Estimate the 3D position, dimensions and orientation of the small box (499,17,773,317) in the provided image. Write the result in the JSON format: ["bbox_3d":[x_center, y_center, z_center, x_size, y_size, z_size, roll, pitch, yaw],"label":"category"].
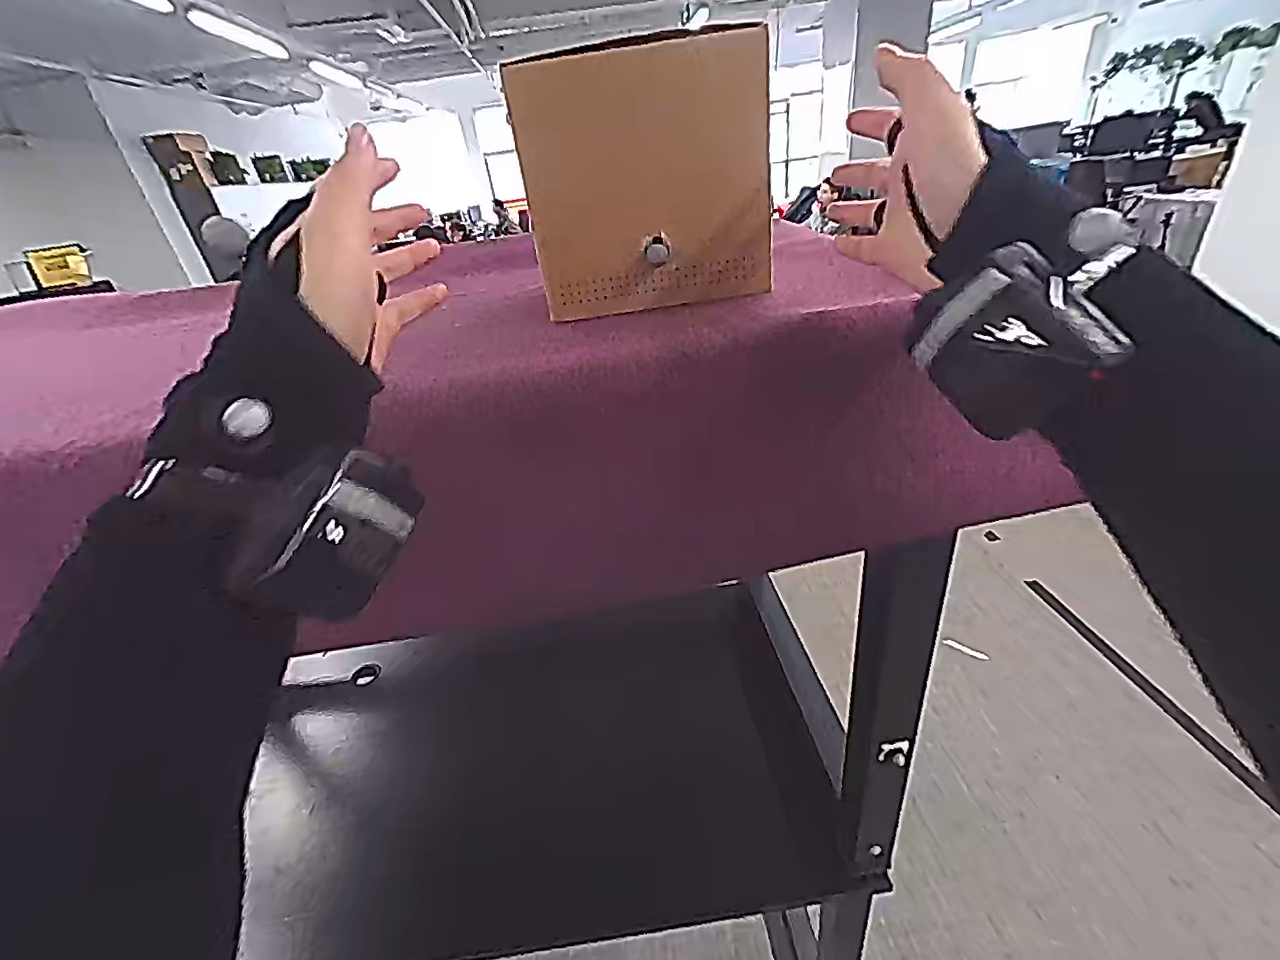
[{"bbox_3d":[0.002,-0.244,0.445,0.179,0.176,0.168,-8,29,1],"label":"small box"}]
